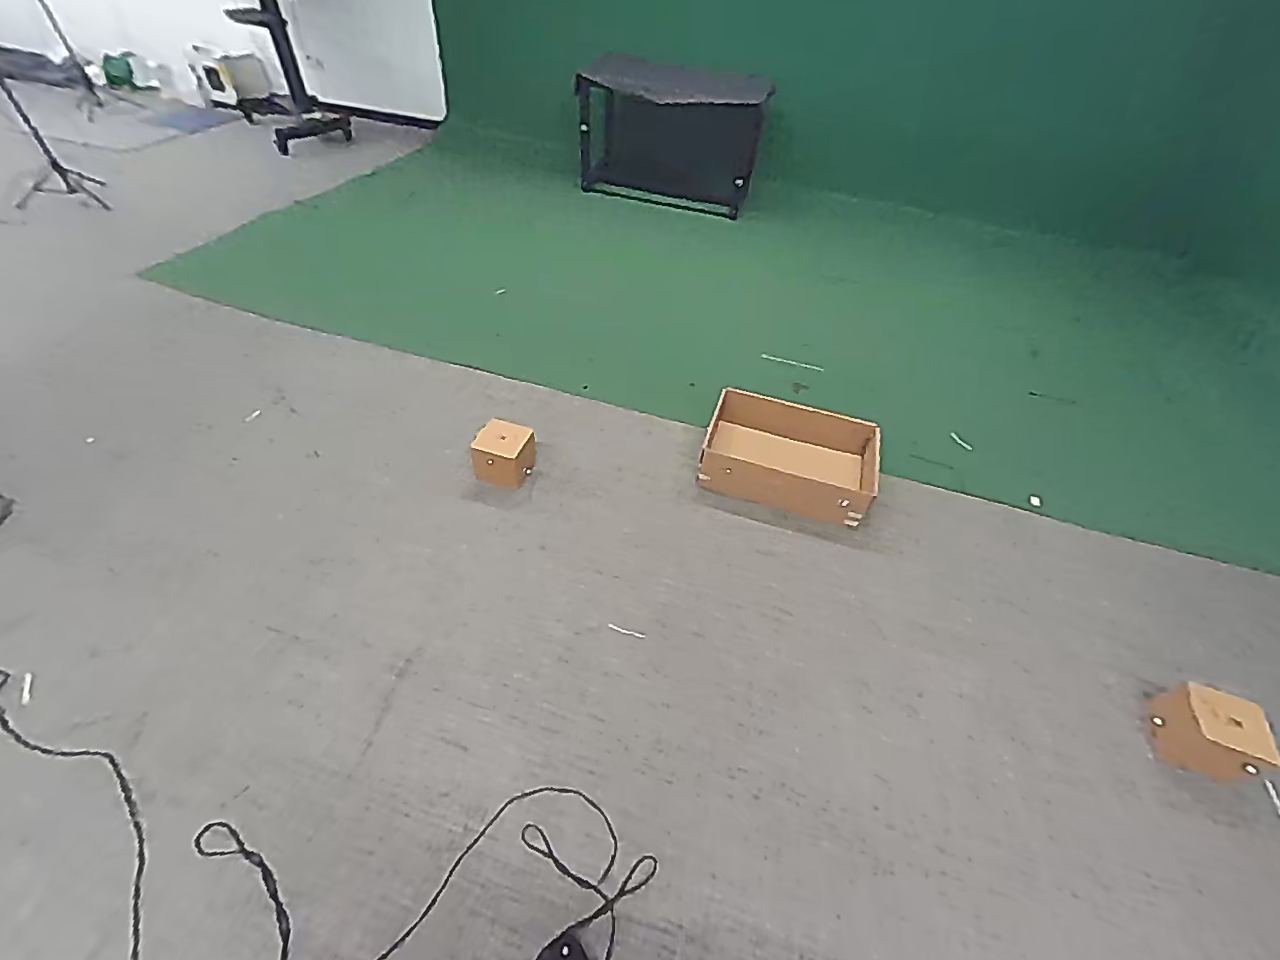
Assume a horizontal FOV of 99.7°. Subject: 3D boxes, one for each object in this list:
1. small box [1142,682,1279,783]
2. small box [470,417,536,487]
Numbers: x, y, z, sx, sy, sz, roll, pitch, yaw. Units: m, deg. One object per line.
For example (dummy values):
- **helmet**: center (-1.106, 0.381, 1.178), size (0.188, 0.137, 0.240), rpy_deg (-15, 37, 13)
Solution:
- **small box**: center (1.505, 0.676, 1.437), size (0.179, 0.176, 0.168), rpy_deg (20, 48, 13)
- **small box**: center (-0.494, -0.099, 1.971), size (0.179, 0.176, 0.168), rpy_deg (16, 49, 7)
